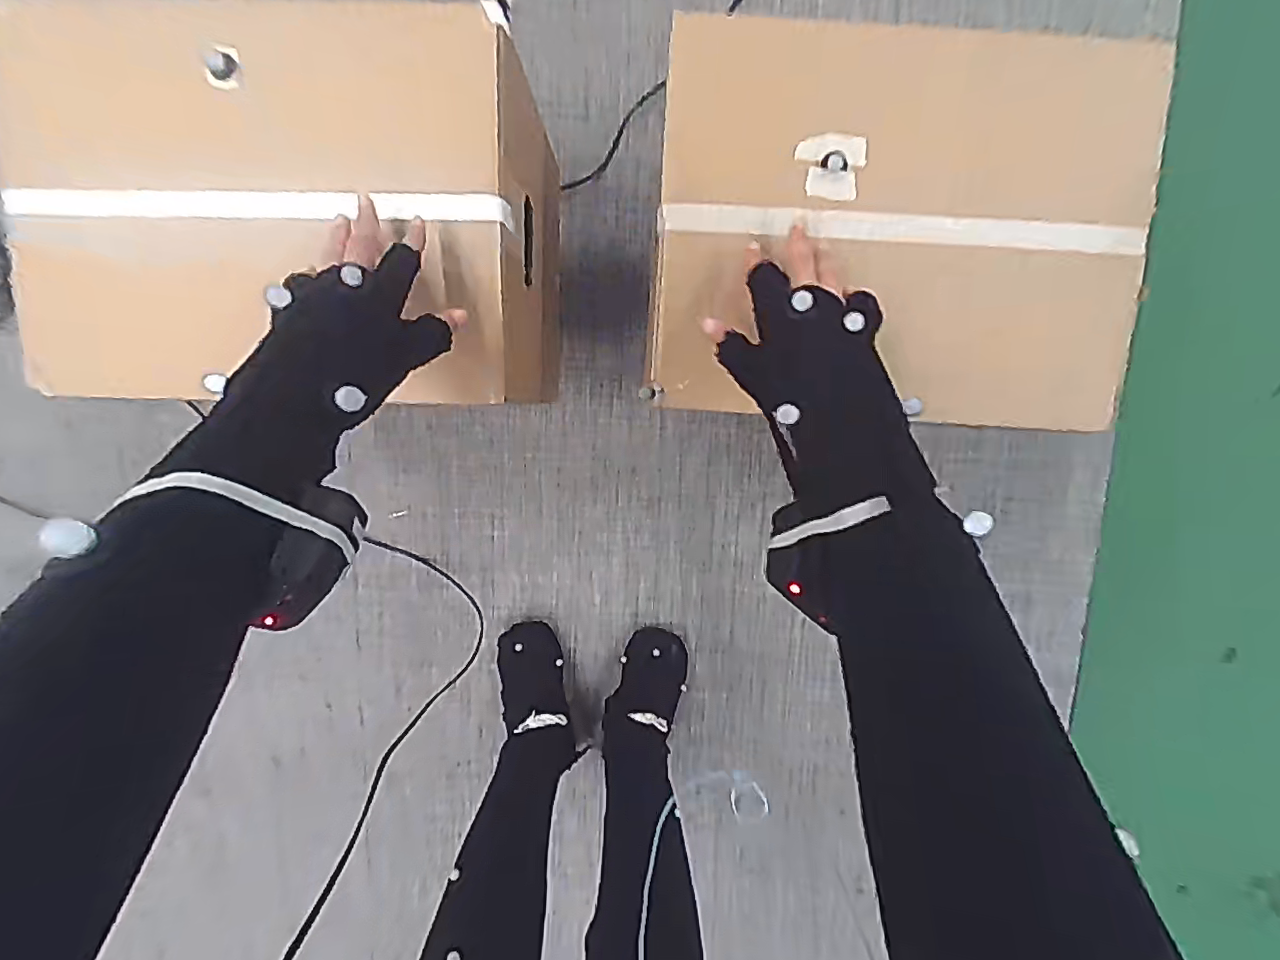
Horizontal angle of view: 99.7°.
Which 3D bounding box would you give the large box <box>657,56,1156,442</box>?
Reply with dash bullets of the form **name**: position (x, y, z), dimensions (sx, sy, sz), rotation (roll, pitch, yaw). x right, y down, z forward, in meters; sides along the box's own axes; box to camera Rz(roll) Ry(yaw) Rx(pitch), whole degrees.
- **large box**: position (0.231, -0.221, 0.624), dimensions (0.408, 0.320, 0.320), rotation (4, 98, 0)
